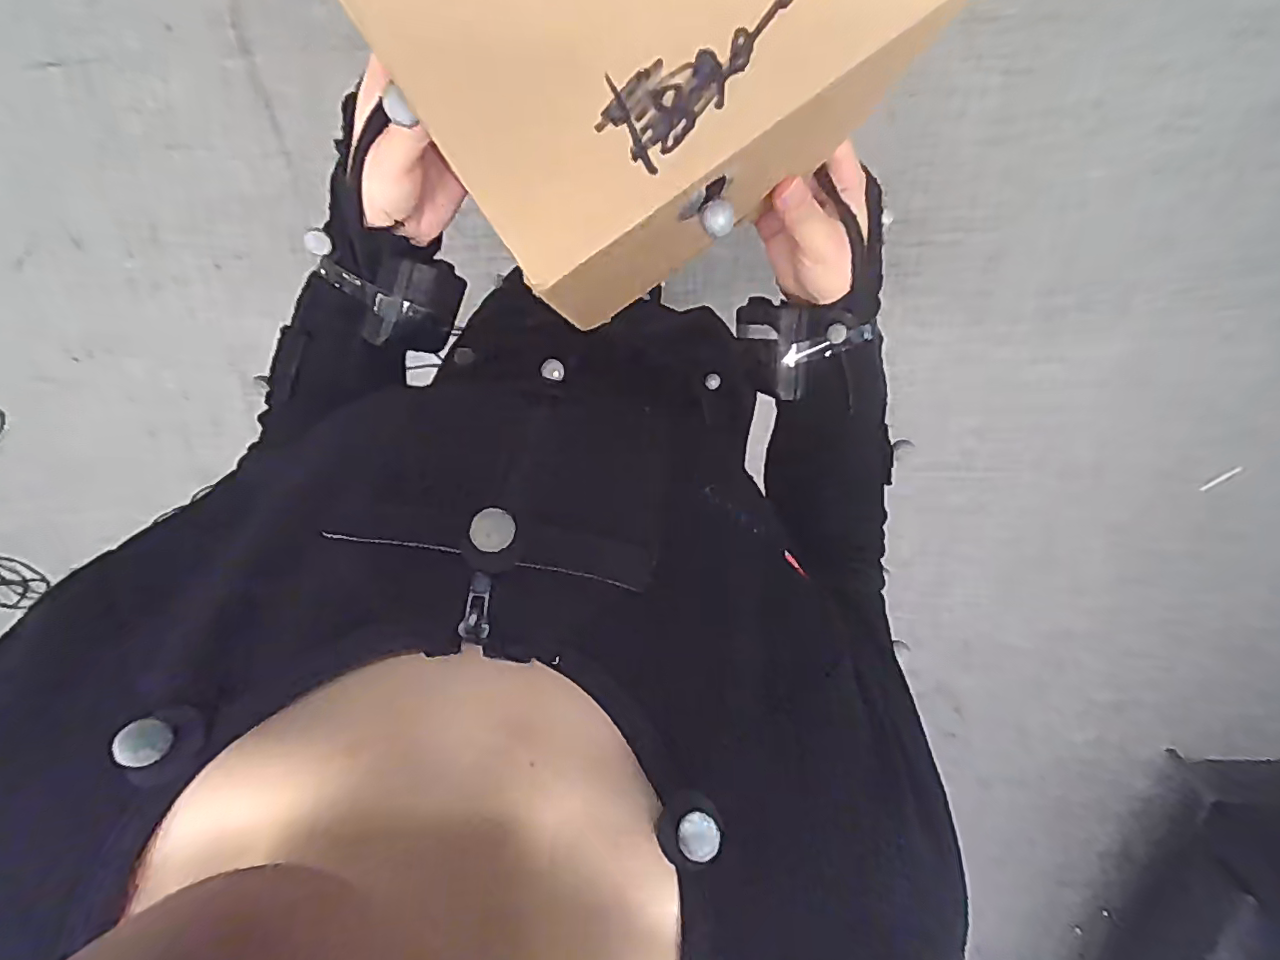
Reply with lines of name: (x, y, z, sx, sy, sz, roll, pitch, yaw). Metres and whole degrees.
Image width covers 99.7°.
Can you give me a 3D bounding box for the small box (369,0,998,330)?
small box: (-0.005, -0.186, 0.236, 0.168, 0.176, 0.179, -34, 99, 6)
